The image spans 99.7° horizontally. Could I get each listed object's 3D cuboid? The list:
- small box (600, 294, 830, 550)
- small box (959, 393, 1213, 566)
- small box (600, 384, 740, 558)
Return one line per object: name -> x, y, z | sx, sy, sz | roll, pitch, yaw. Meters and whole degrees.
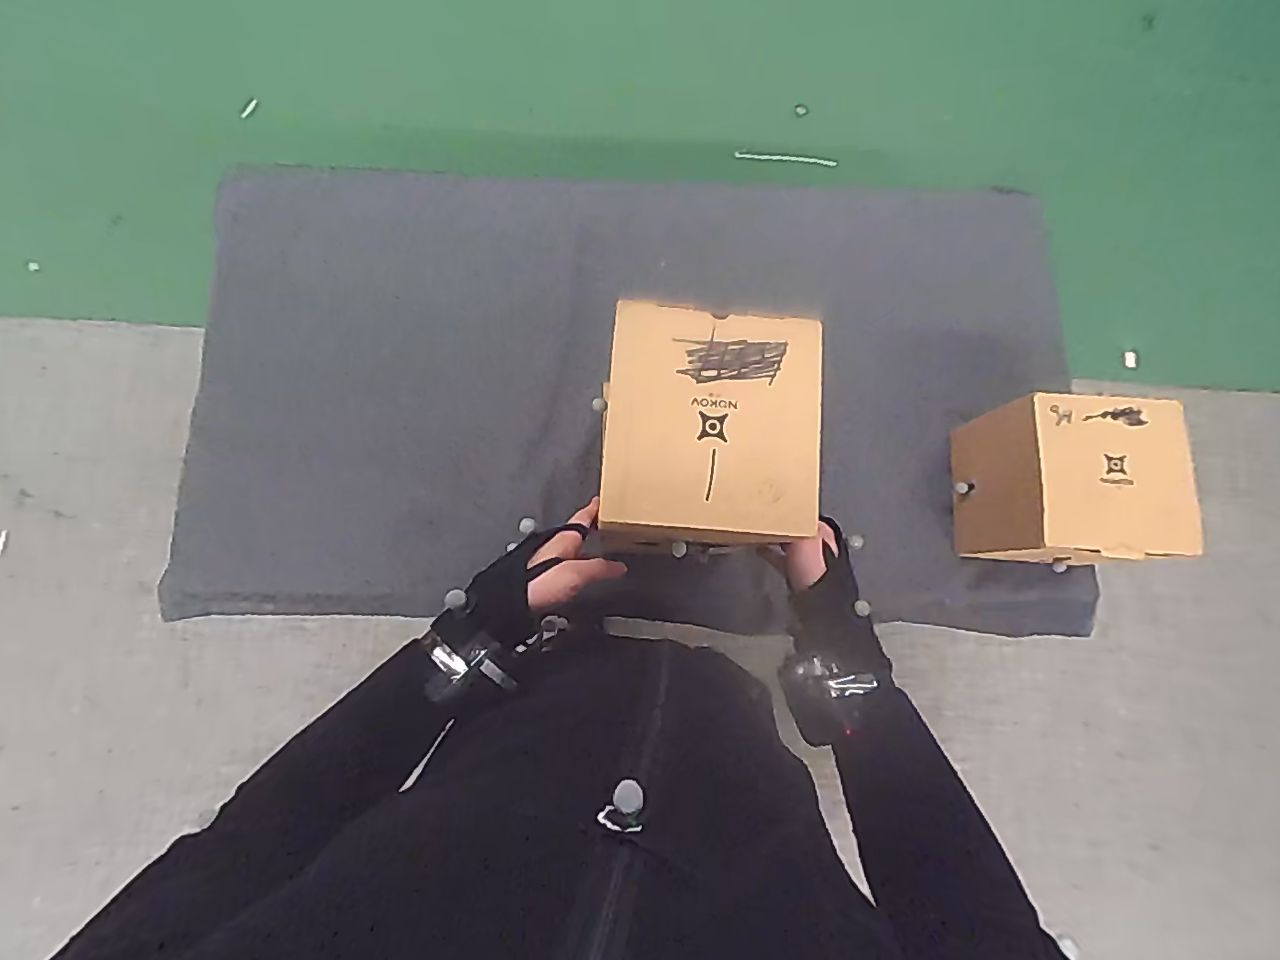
small box -> 0.054, -0.035, 0.478 | 0.168, 0.176, 0.179 | 5, 80, -3
small box -> 0.511, 0.010, 0.649 | 0.168, 0.176, 0.179 | 4, 78, 1
small box -> 0.039, 0.000, 0.638 | 0.168, 0.176, 0.179 | 0, 77, -4
